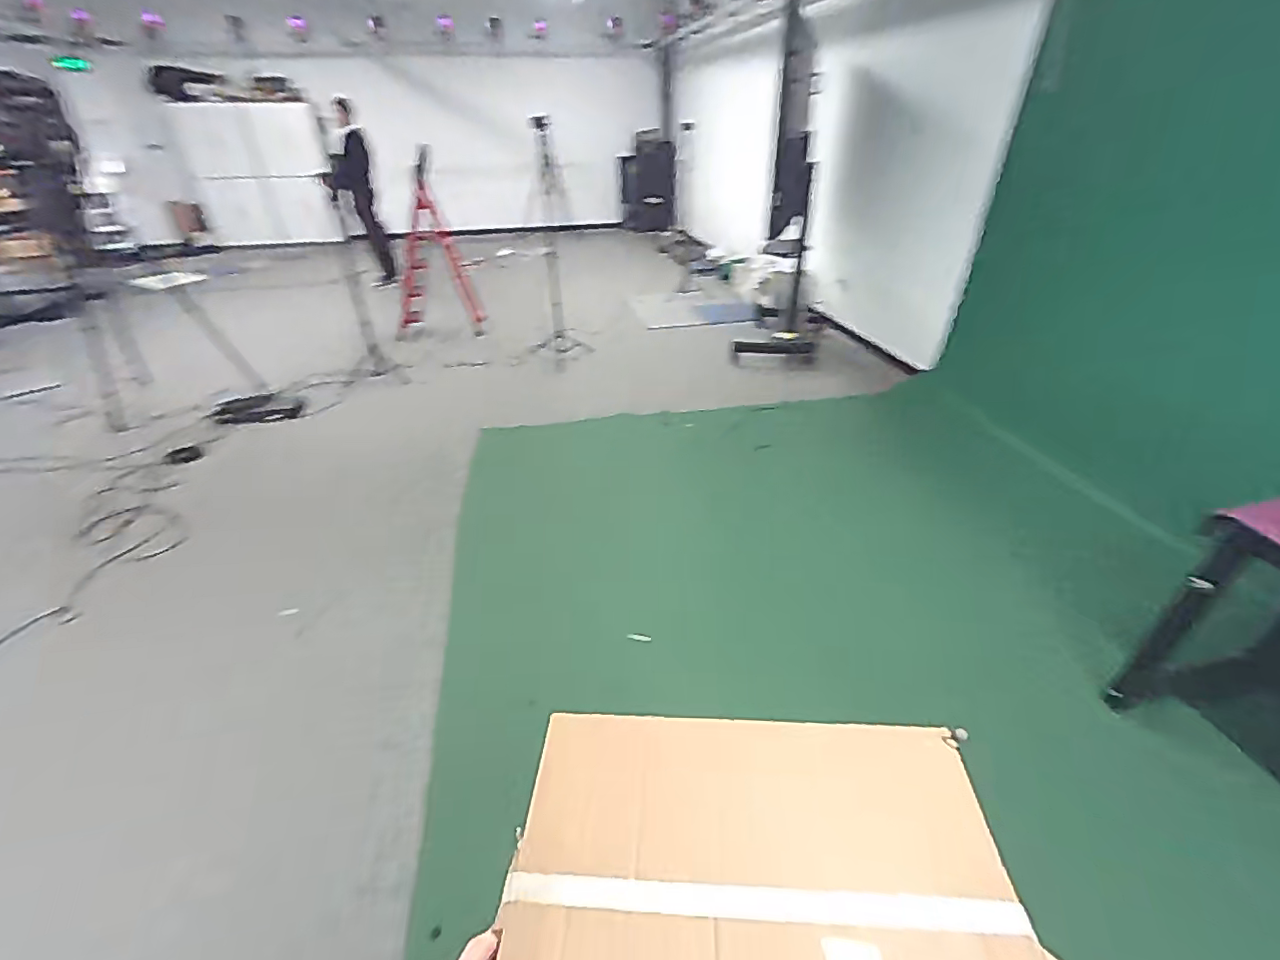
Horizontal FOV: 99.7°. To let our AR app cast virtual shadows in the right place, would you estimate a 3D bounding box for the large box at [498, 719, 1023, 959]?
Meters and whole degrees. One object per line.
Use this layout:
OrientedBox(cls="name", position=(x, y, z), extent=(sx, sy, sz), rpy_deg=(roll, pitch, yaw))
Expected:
OrientedBox(cls="large box", position=(0.094, 0.463, 0.524), extent=(0.408, 0.320, 0.320), rpy_deg=(0, 36, 4))
